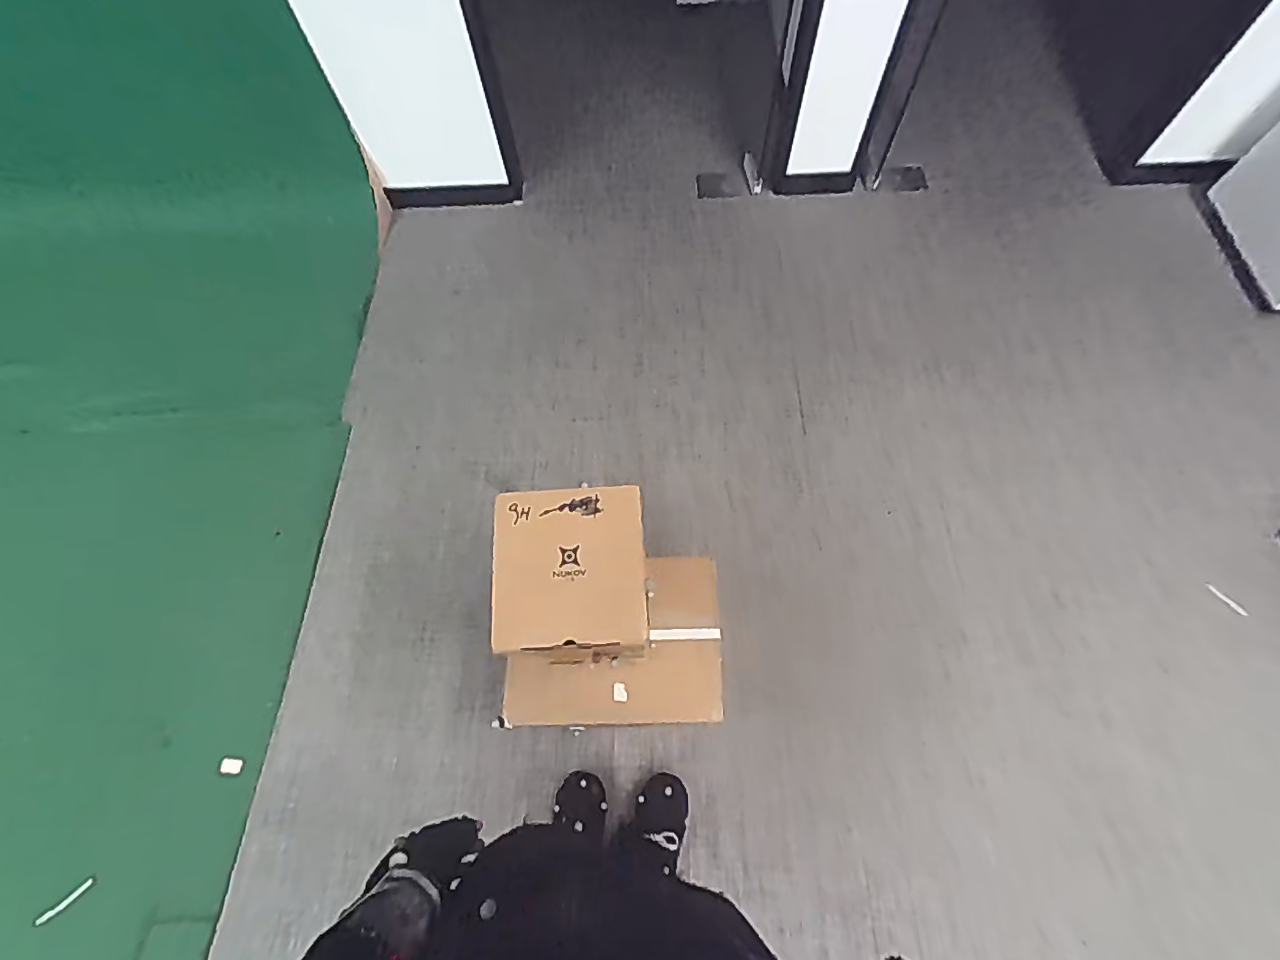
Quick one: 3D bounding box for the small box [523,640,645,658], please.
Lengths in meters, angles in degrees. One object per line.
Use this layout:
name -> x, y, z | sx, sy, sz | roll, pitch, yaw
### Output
small box -> -0.076, 0.177, 0.822 | 0.168, 0.176, 0.179 | -2, 69, 0

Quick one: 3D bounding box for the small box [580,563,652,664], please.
small box -> -0.072, 0.236, 0.970 | 0.179, 0.176, 0.168 | 5, 69, 4

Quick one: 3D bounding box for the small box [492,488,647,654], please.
small box -> -0.077, 0.119, 0.669 | 0.168, 0.176, 0.179 | -3, 71, -1
